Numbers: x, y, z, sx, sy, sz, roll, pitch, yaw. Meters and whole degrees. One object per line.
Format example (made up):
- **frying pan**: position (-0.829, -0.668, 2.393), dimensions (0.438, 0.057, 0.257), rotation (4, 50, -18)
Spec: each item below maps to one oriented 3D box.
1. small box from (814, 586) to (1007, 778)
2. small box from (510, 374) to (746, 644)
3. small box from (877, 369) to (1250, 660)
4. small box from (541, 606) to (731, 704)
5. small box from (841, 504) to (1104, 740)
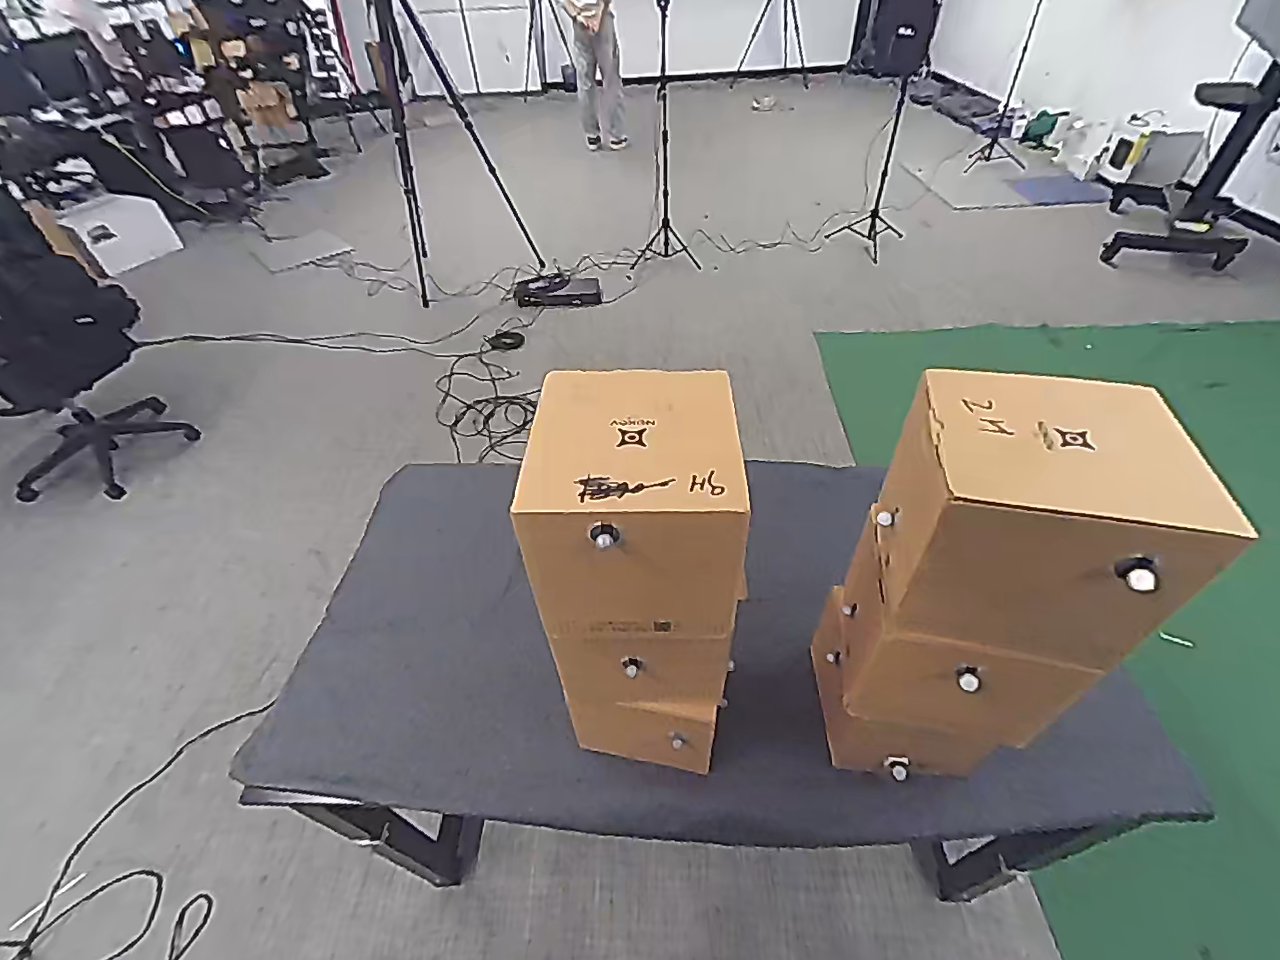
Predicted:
- **small box**: position (0.329, 0.255, 0.690), dimensions (0.168, 0.176, 0.179), rotation (-1, 44, 5)
- **small box**: position (-0.003, 0.023, 0.482), dimensions (0.168, 0.176, 0.179), rotation (-1, 43, 3)
- **small box**: position (0.313, 0.029, 0.454), dimensions (0.179, 0.176, 0.168), rotation (7, 44, 14)
- **small box**: position (0.003, 0.134, 0.602), dimensions (0.179, 0.176, 0.168), rotation (-1, 44, 4)
- **small box**: position (0.319, 0.149, 0.567), dimensions (0.179, 0.176, 0.168), rotation (6, 44, 13)
